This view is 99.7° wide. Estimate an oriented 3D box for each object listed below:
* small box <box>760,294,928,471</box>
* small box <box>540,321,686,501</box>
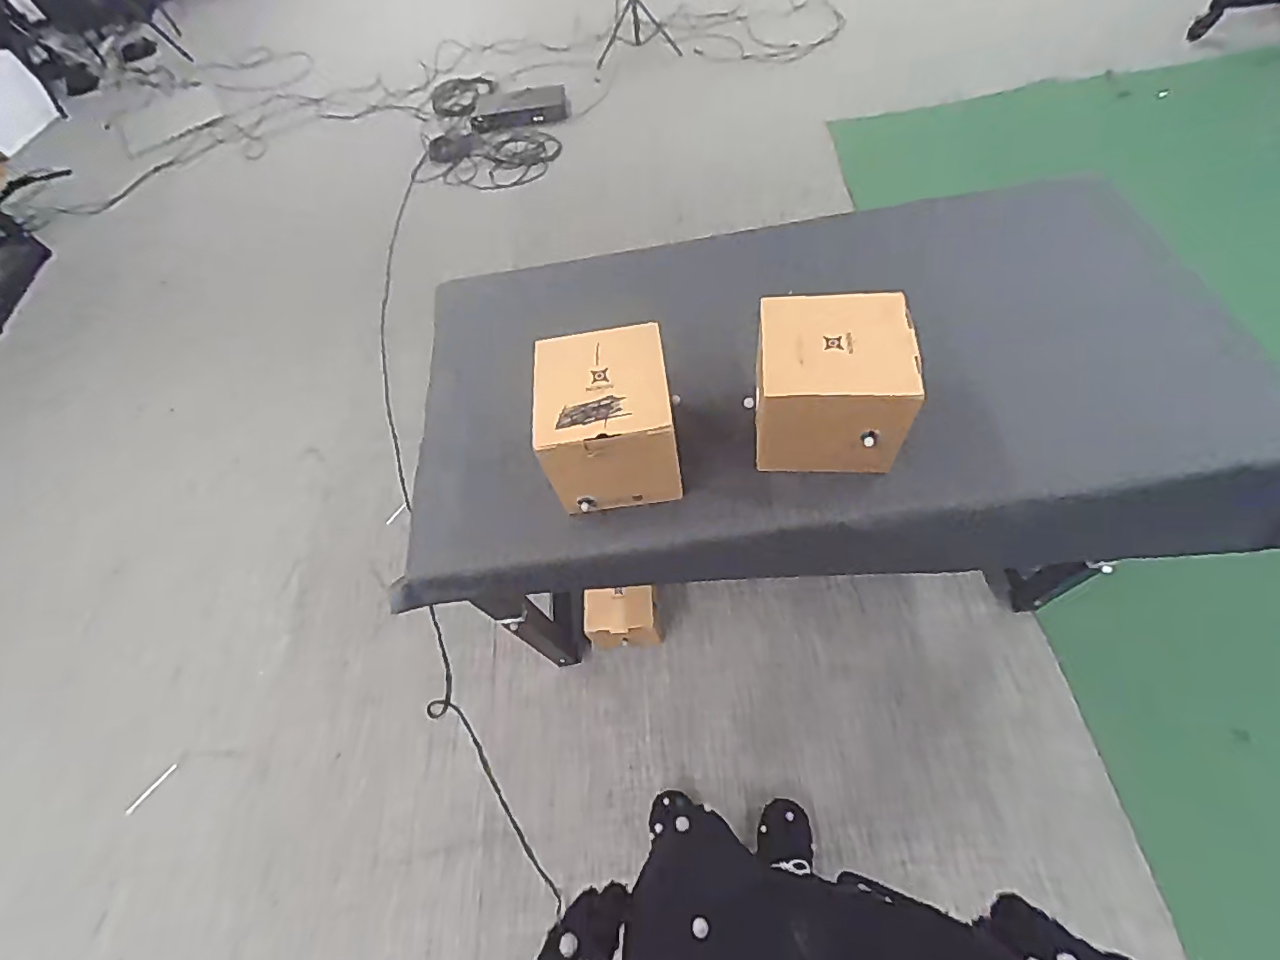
[{"bbox_3d":[0.253,-0.122,0.716,0.179,0.176,0.168,1,60,10],"label":"small box"},{"bbox_3d":[-0.031,-0.083,0.733,0.168,0.176,0.179,-7,58,4],"label":"small box"}]
